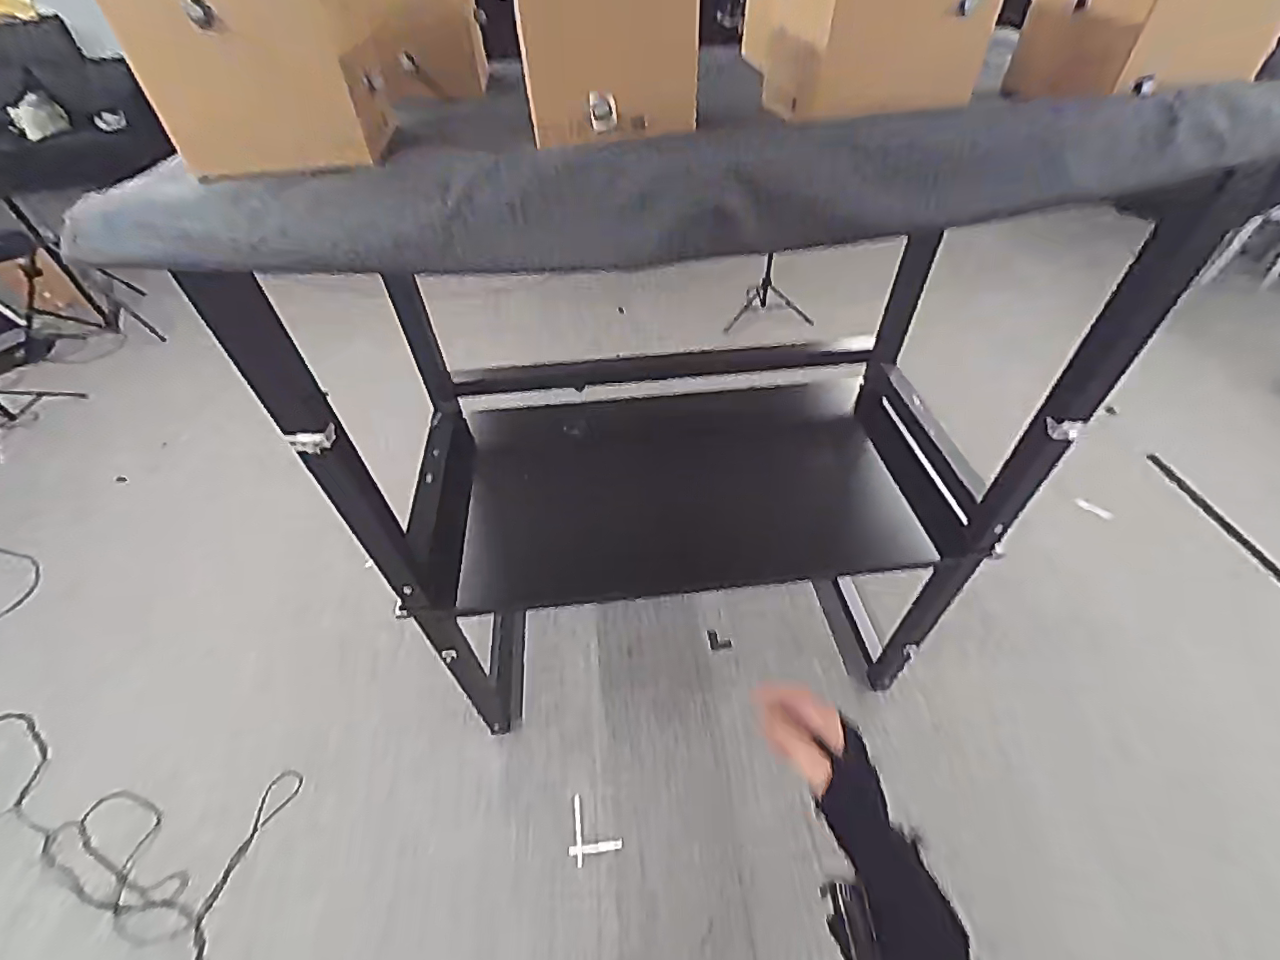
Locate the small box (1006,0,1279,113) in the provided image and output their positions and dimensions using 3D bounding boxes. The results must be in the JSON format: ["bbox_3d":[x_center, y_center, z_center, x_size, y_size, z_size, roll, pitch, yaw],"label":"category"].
[{"bbox_3d":[0.552,-0.512,0.584,0.168,0.176,0.179,-8,46,-4],"label":"small box"}]

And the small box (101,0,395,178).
[{"bbox_3d":[-0.370,-0.416,0.536,0.179,0.176,0.168,-8,46,-6],"label":"small box"}]

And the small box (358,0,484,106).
[{"bbox_3d":[-0.318,-0.632,0.739,0.179,0.176,0.168,-7,47,-5],"label":"small box"}]

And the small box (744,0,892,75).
[{"bbox_3d":[0.255,-0.700,0.777,0.168,0.176,0.179,-7,47,-3],"label":"small box"}]

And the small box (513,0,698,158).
[{"bbox_3d":[-0.041,-0.450,0.557,0.168,0.176,0.179,-10,46,-5],"label":"small box"}]
